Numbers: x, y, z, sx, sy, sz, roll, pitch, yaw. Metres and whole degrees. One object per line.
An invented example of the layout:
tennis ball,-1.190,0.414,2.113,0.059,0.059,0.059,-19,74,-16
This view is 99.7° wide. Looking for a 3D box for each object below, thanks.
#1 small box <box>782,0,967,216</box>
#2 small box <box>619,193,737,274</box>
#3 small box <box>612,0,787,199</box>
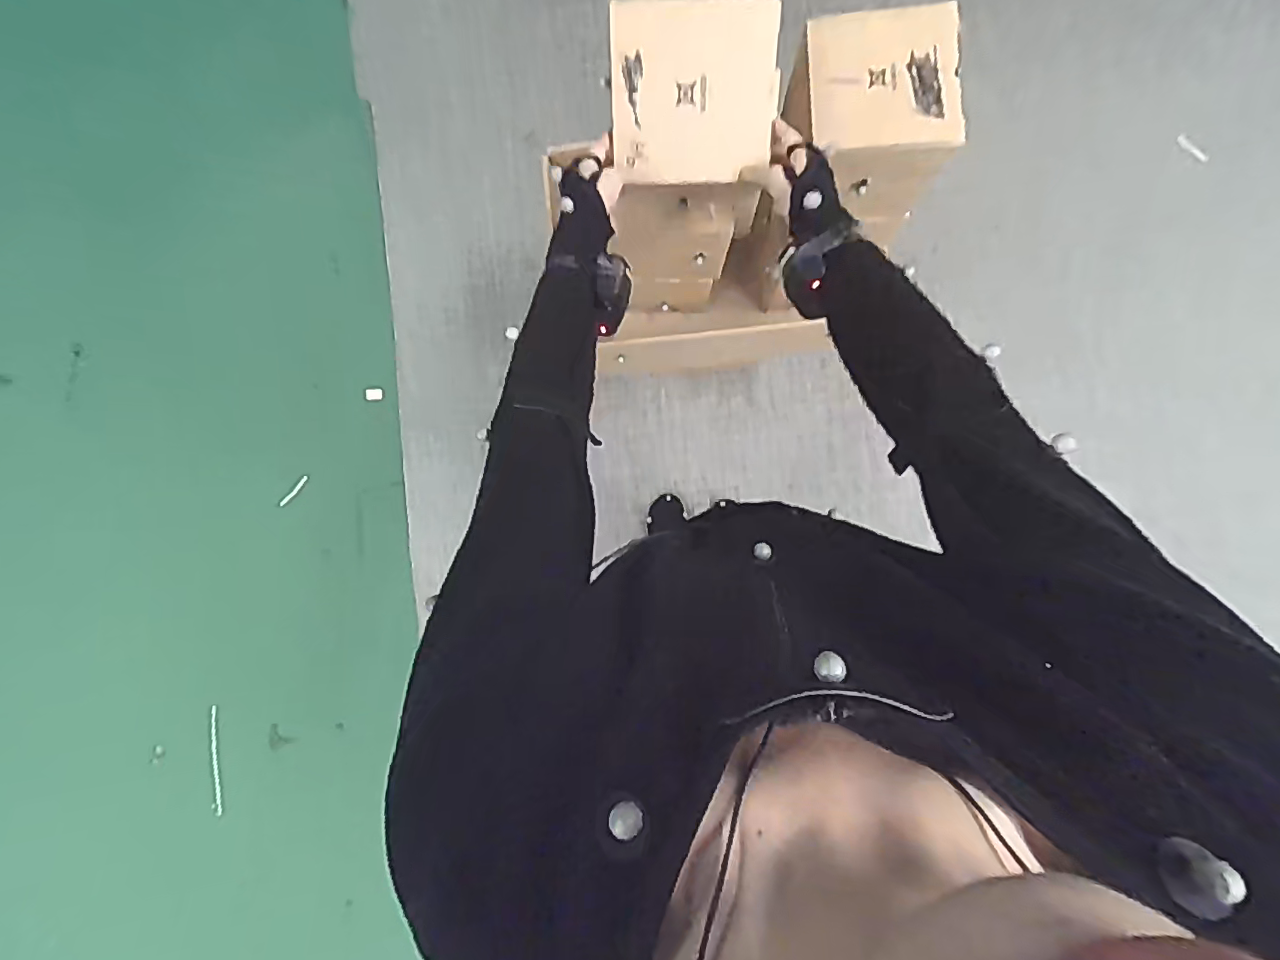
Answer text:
small box,0.291,-0.466,0.702,0.179,0.176,0.168,-2,88,5
small box,0.058,-0.452,0.882,0.179,0.176,0.168,1,86,1
small box,0.056,-0.434,0.633,0.179,0.176,0.168,-1,110,-1
